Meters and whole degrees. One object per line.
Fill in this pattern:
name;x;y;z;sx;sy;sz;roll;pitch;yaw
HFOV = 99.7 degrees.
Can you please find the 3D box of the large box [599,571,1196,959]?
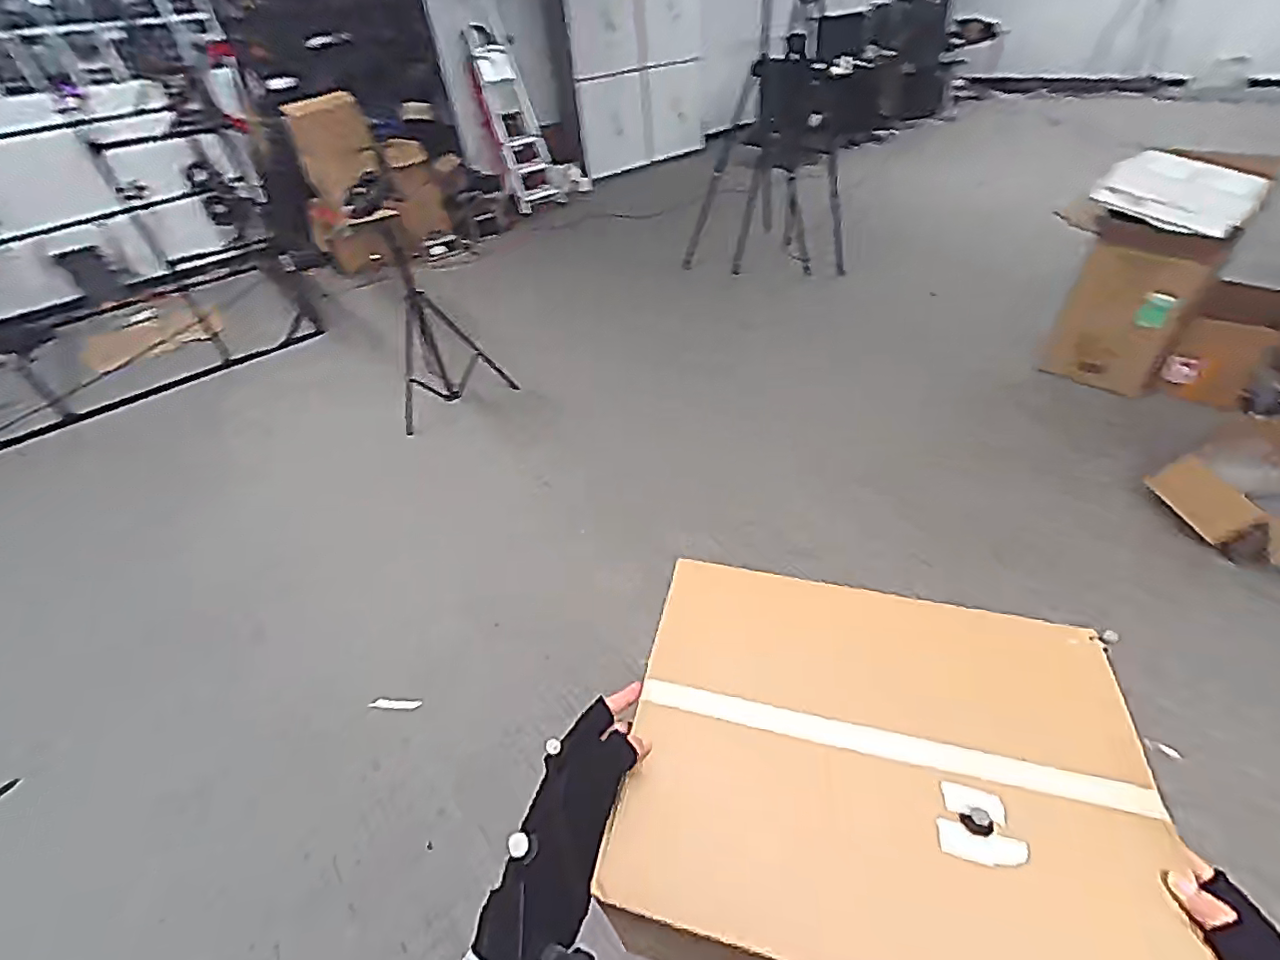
large box;0.200;0.334;0.564;0.408;0.320;0.320;7;44;12
